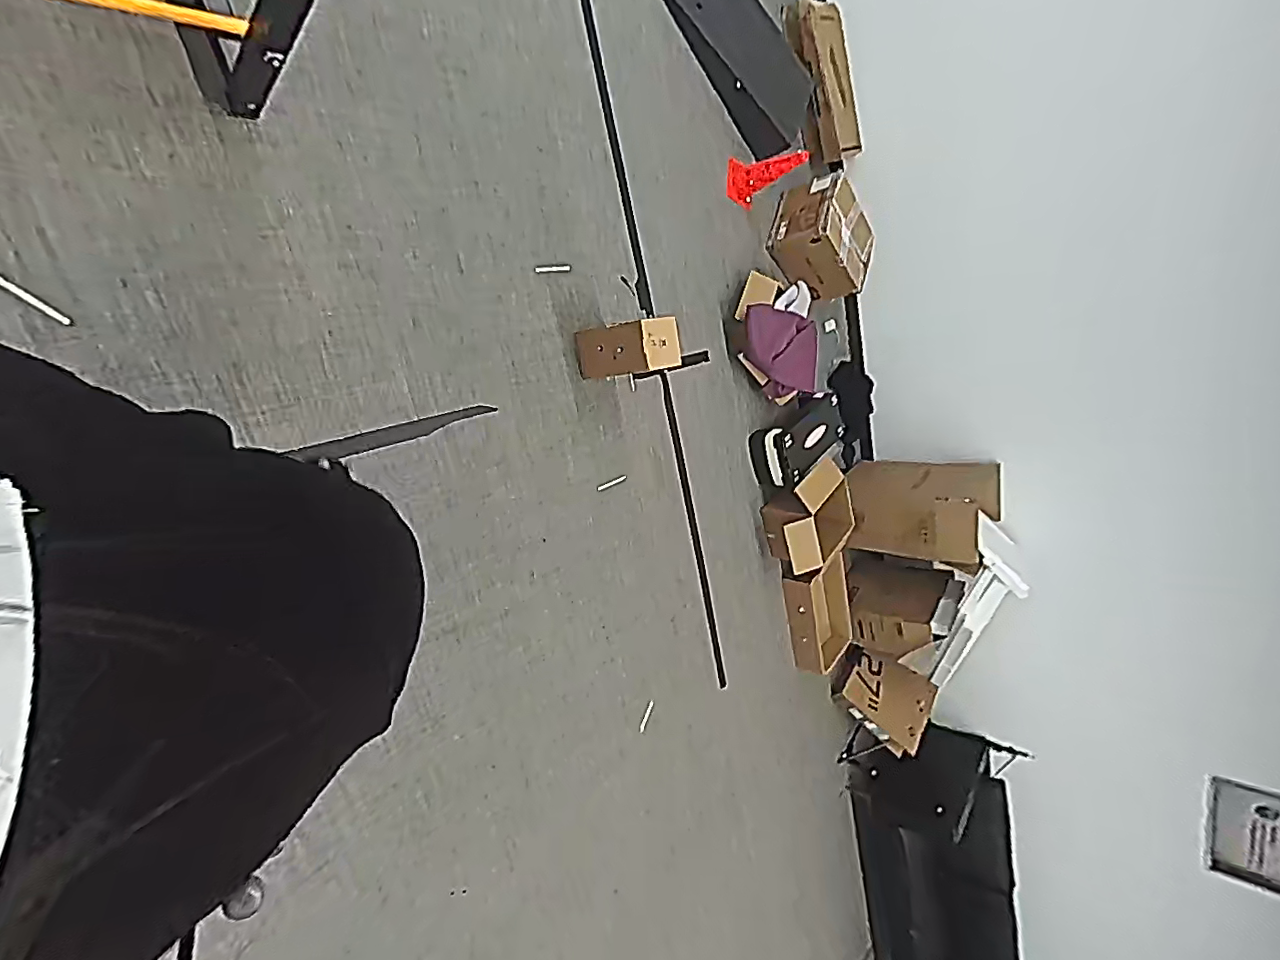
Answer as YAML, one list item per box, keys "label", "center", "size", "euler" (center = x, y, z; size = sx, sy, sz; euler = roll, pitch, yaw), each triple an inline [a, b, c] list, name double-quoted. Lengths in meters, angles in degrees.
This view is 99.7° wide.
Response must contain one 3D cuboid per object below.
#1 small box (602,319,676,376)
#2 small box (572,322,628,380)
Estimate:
- label: "small box"
  center: [-0.004, -0.455, 1.850]
  size: [0.179, 0.176, 0.168]
  euler: [-21, 107, -43]
- label: "small box"
  center: [-0.128, -0.466, 1.958]
  size: [0.168, 0.176, 0.179]
  euler: [-21, 108, -44]
